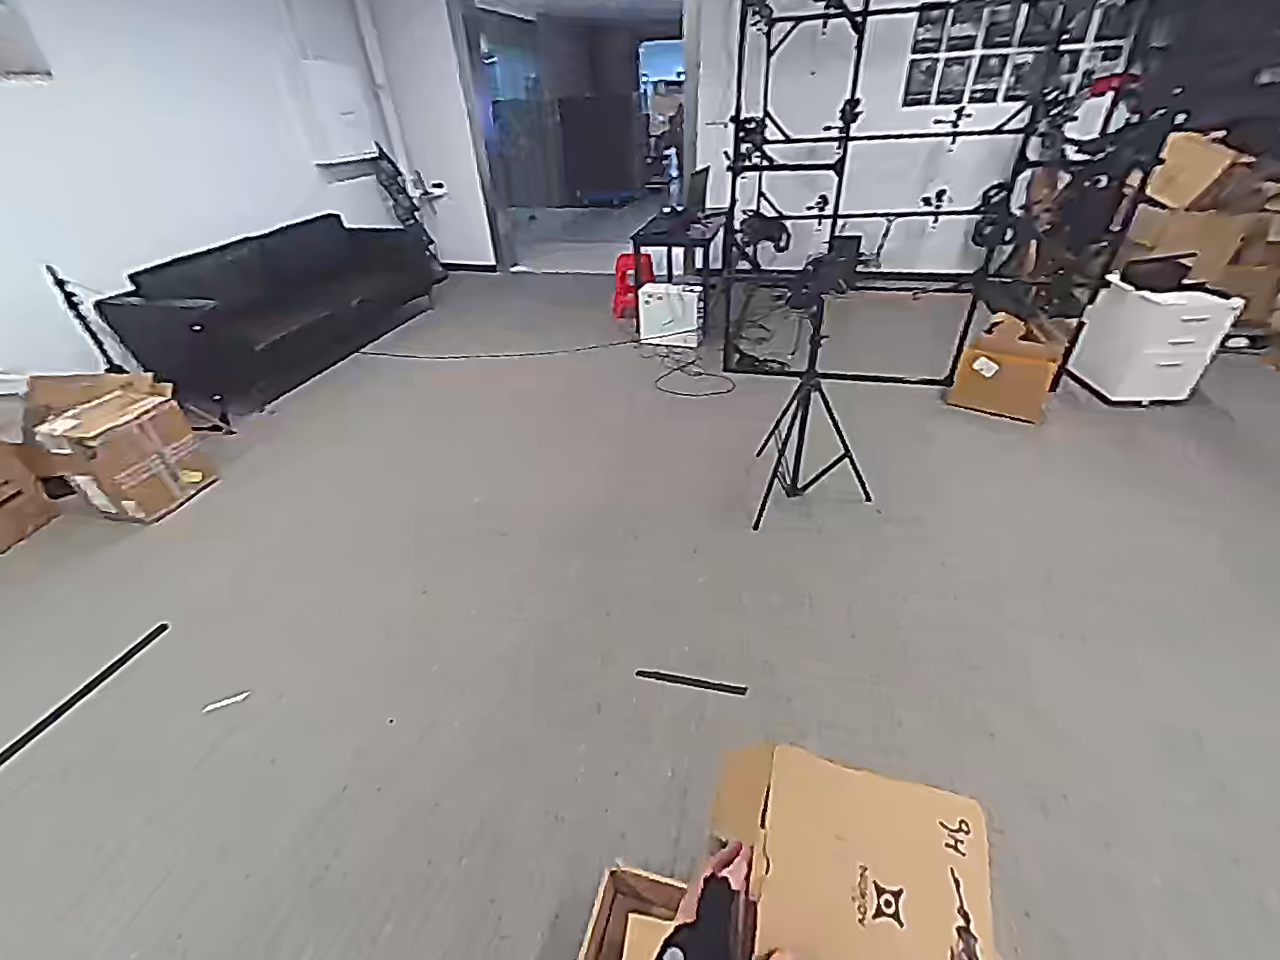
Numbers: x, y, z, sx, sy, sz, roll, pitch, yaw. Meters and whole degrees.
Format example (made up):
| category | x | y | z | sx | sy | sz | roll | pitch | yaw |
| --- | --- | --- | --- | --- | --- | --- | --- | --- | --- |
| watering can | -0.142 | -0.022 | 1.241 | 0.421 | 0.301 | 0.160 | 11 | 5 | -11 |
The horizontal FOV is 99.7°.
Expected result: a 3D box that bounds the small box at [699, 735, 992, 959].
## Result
| category | x | y | z | sx | sy | sz | roll | pitch | yaw |
| --- | --- | --- | --- | --- | --- | --- | --- | --- | --- |
| small box | 0.157 | 0.334 | 0.458 | 0.179 | 0.176 | 0.168 | 15 | 59 | 2 |
